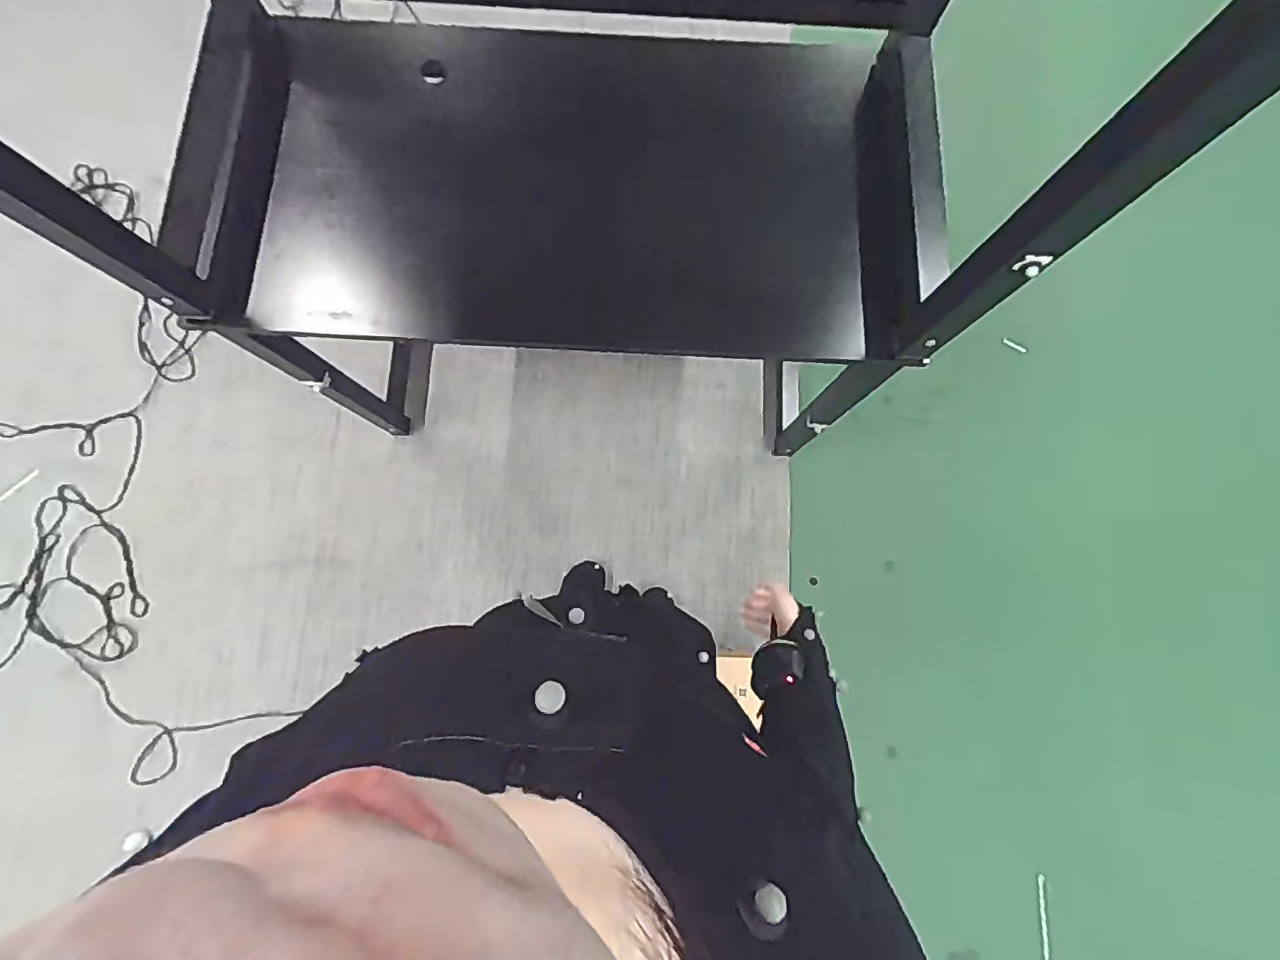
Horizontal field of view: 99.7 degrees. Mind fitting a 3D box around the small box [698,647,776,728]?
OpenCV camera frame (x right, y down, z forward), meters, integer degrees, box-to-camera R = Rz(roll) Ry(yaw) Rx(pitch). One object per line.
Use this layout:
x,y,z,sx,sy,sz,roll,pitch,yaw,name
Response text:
0.241,0.523,1.378,0.179,0.176,0.168,2,80,0,small box
